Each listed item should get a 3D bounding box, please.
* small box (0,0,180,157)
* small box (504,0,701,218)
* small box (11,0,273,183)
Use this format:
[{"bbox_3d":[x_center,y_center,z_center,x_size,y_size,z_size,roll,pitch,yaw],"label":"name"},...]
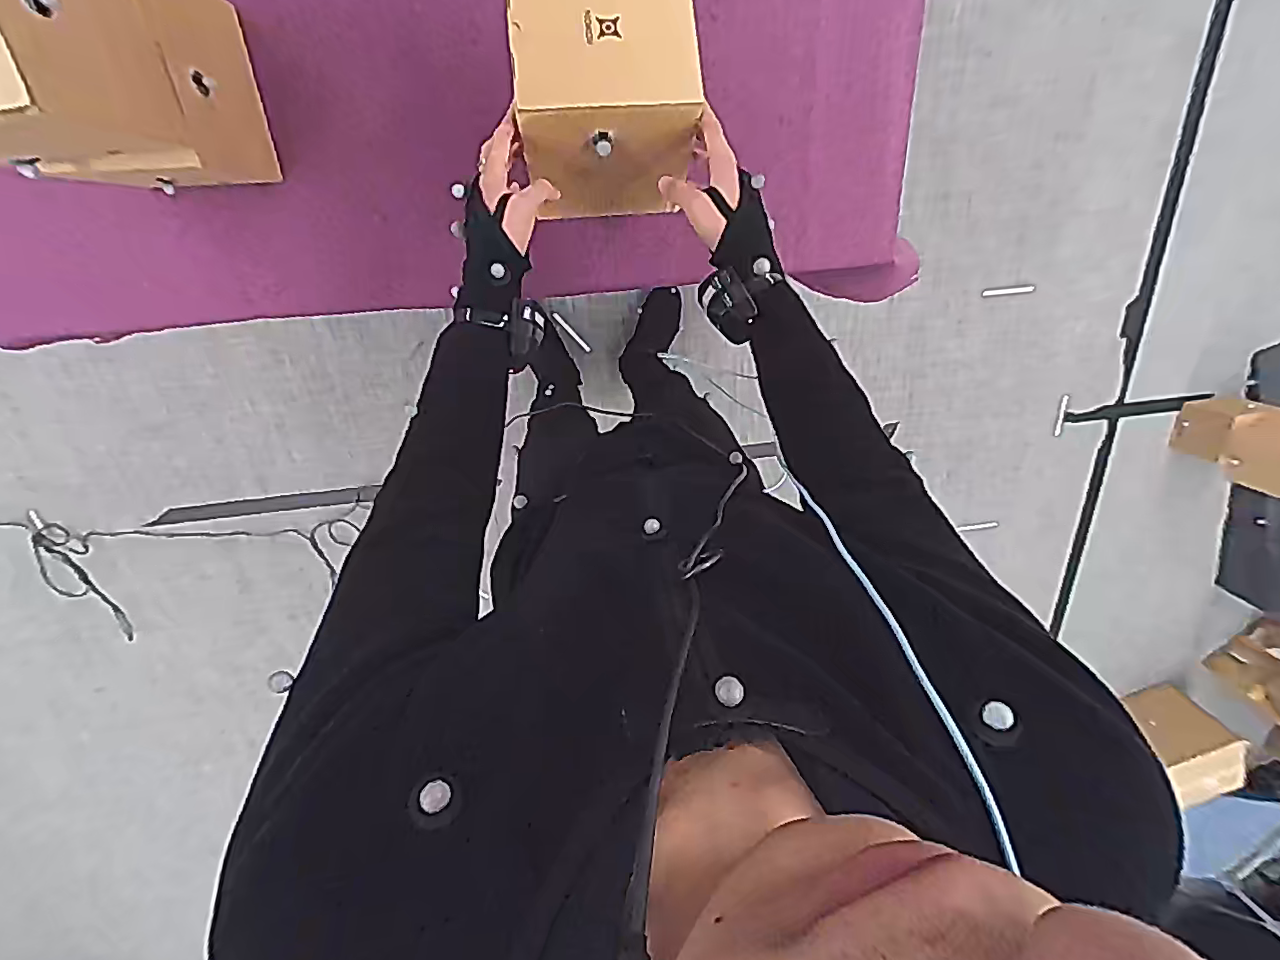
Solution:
[{"bbox_3d":[-0.505,-0.351,0.400,0.168,0.176,0.179,-9,114,-4],"label":"small box"},{"bbox_3d":[-0.041,-0.408,0.580,0.179,0.176,0.168,-6,82,-4],"label":"small box"},{"bbox_3d":[-0.519,-0.408,0.554,0.168,0.176,0.179,-5,115,-6],"label":"small box"}]
